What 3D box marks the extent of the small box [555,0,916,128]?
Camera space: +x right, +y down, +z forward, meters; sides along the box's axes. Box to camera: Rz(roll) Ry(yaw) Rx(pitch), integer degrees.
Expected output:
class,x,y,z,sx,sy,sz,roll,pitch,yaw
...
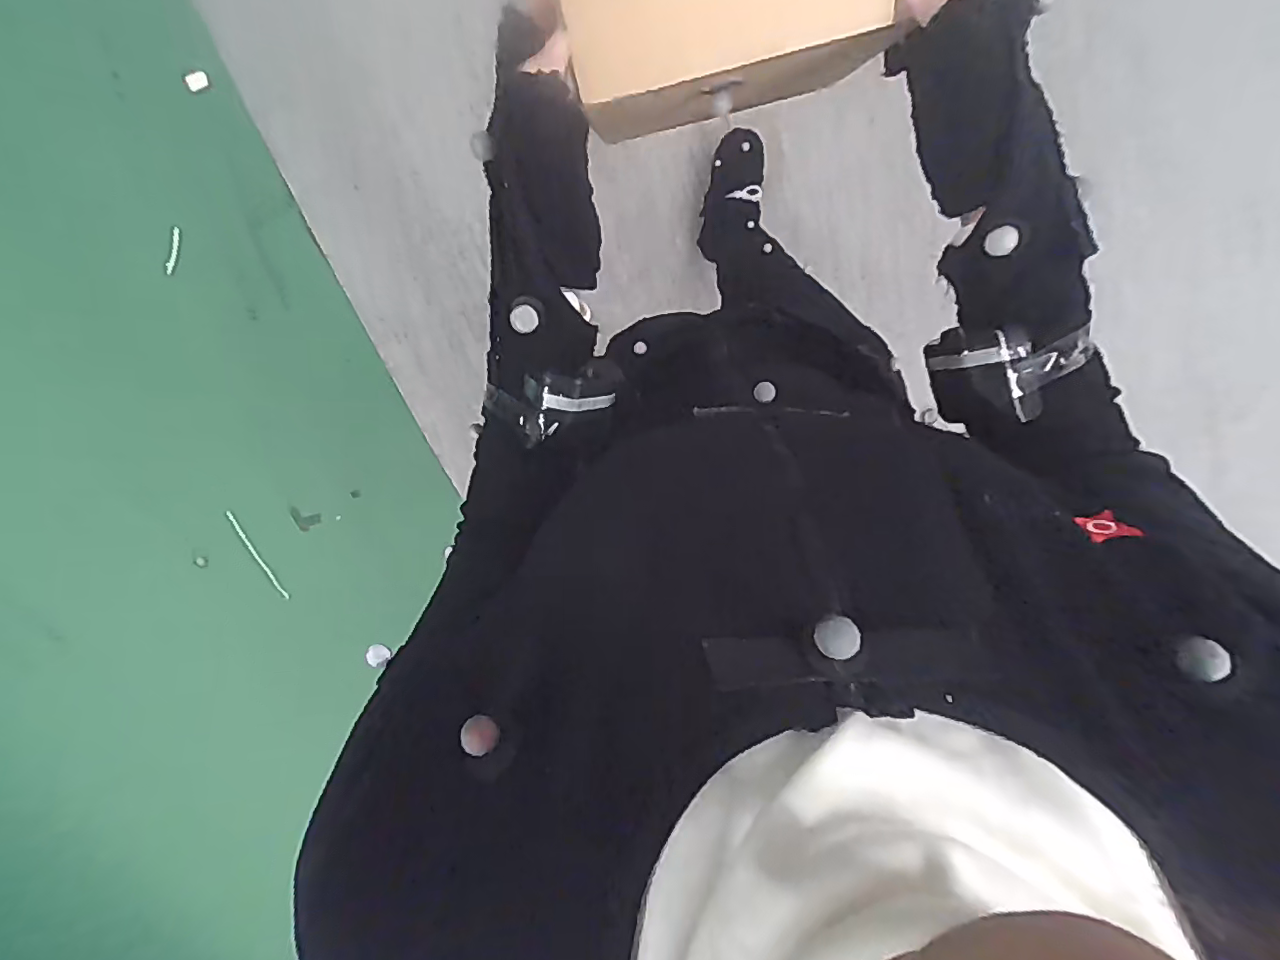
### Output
class,x,y,z,sx,sy,sz,roll,pitch,yaw
small box,0.038,-0.317,0.301,0.179,0.176,0.168,-11,116,6
